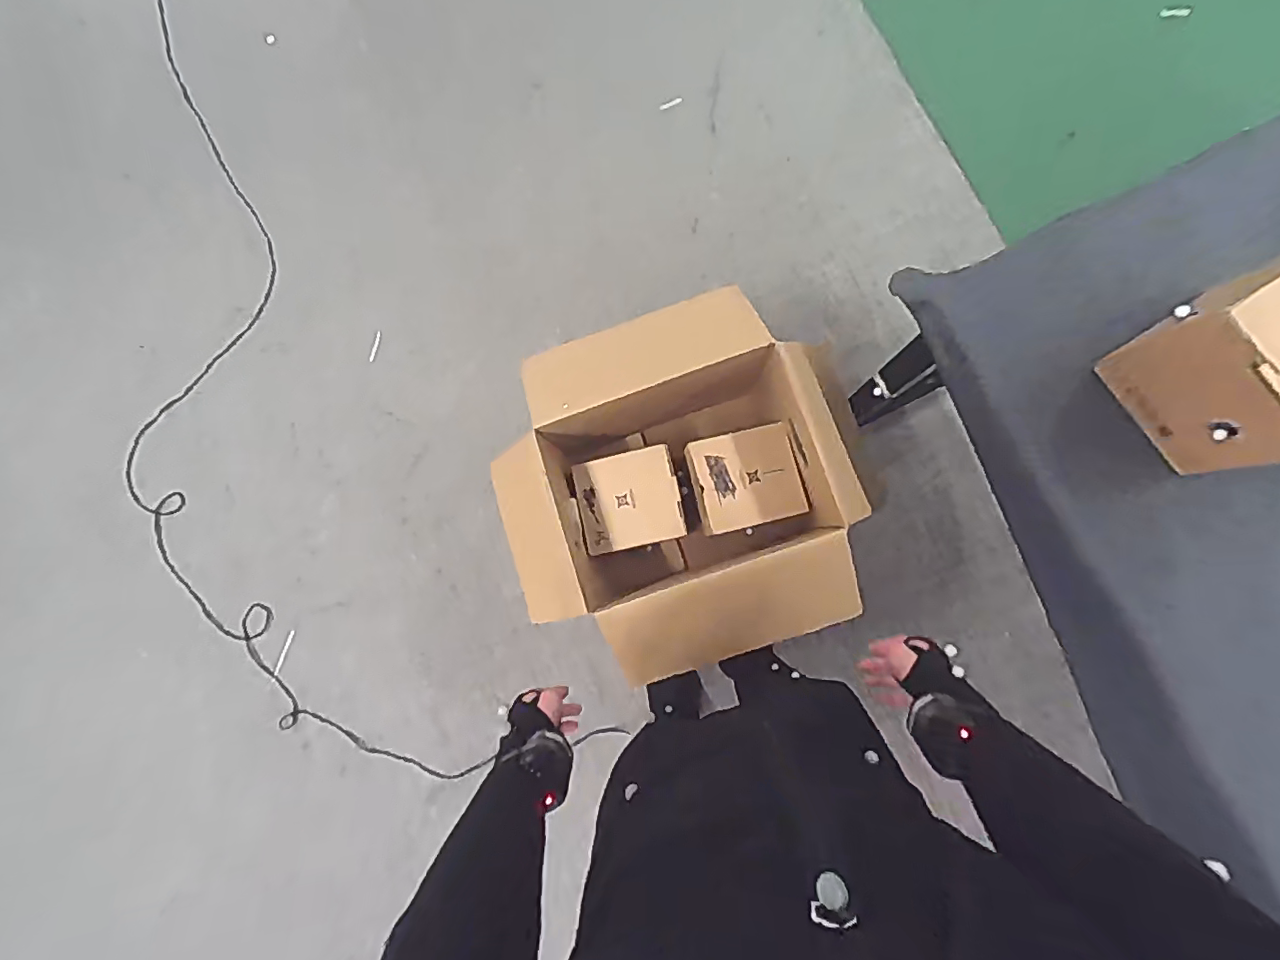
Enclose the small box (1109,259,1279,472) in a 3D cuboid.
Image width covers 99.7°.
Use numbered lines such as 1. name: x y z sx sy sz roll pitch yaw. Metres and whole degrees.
1. small box: 0.666 -0.125 0.580 0.179 0.176 0.168 -33 83 -2
